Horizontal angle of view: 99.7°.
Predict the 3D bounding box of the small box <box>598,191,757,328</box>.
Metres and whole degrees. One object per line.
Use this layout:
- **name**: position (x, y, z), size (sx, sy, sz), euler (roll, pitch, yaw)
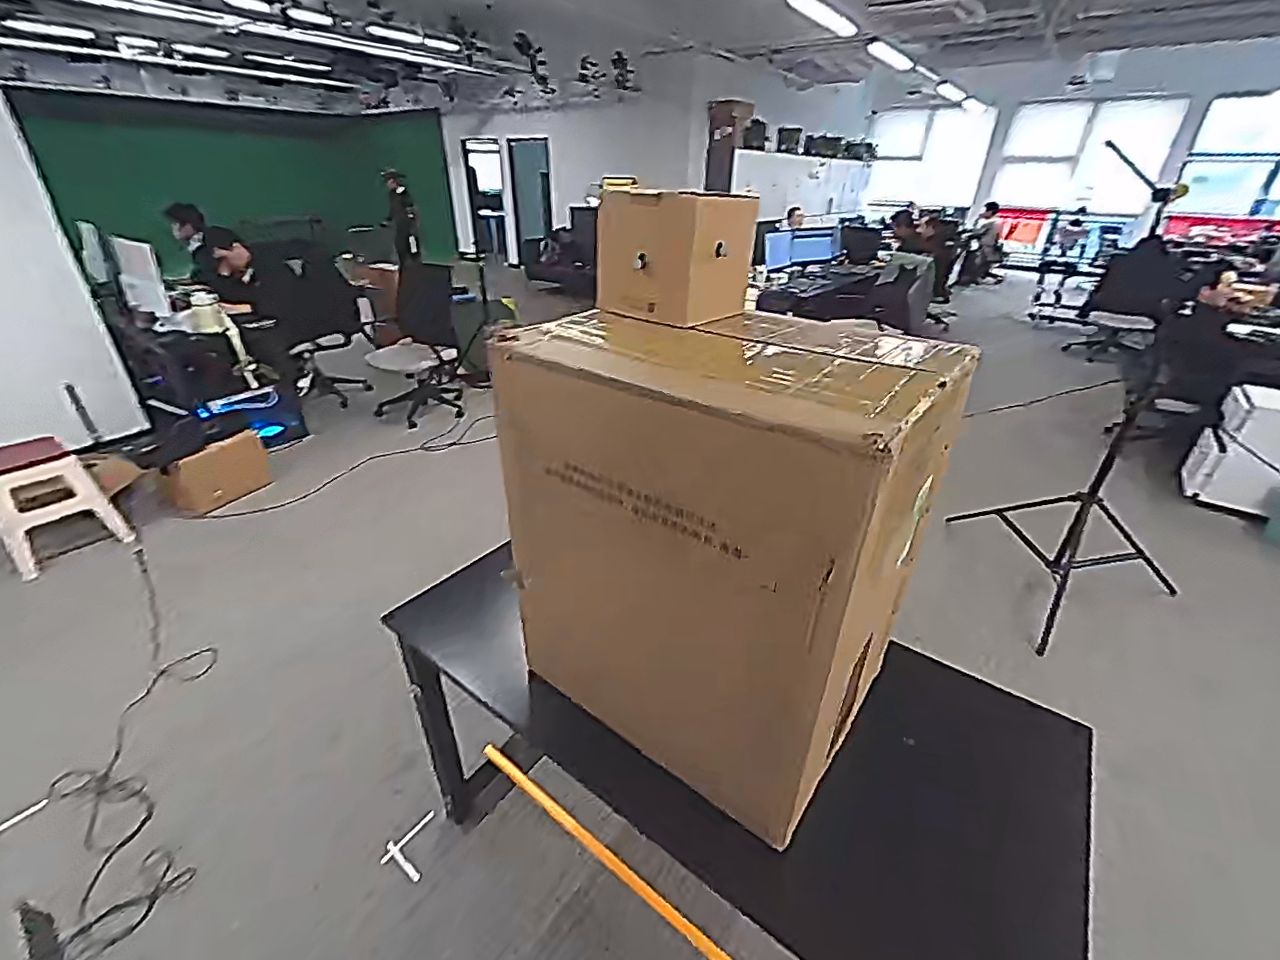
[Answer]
- **small box**: position (0.055, -0.331, 0.804), size (0.168, 0.176, 0.179), euler (22, 34, 31)
